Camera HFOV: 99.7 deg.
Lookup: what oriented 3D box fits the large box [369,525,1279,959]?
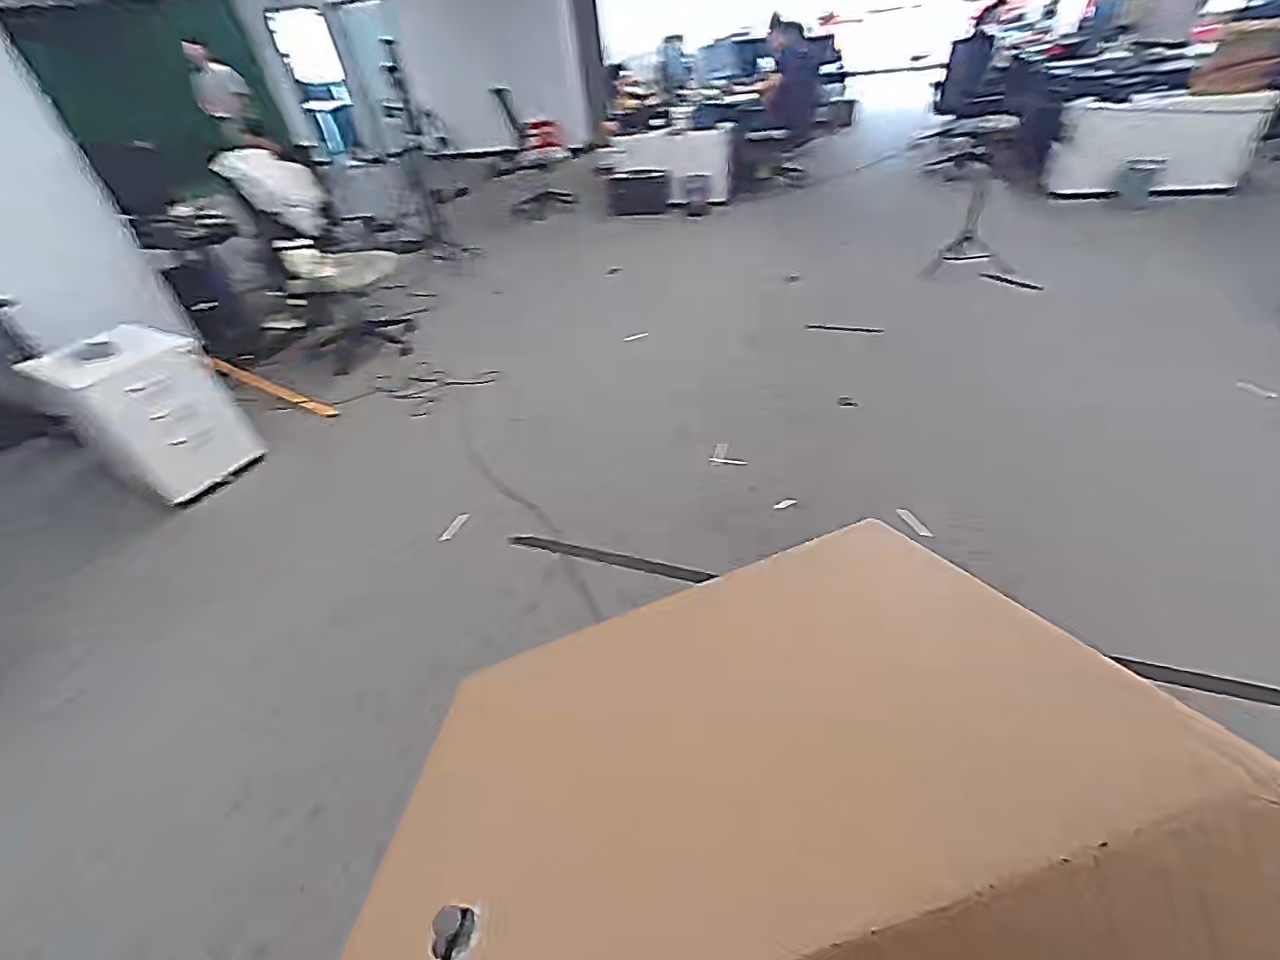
[{"bbox_3d":[0.098,0.277,0.385,0.408,0.320,0.320,-21,14,3],"label":"large box"}]
